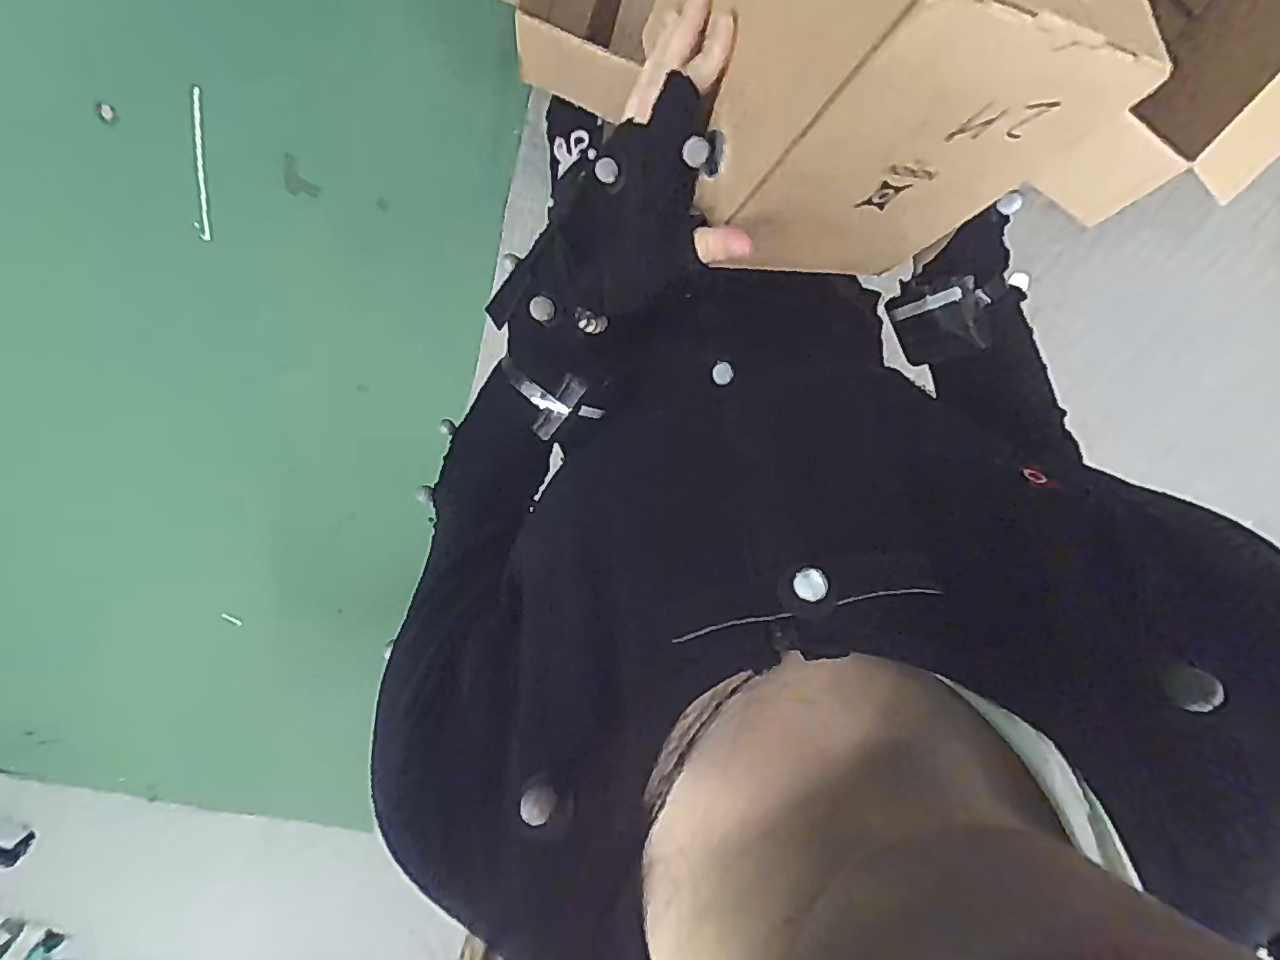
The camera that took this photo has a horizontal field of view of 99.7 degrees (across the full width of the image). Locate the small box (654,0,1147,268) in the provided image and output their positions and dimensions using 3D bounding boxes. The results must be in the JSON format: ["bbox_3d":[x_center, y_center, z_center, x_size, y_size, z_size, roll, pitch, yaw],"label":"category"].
[{"bbox_3d":[0.117,-0.247,0.306,0.168,0.176,0.179,-7,171,-23],"label":"small box"}]
